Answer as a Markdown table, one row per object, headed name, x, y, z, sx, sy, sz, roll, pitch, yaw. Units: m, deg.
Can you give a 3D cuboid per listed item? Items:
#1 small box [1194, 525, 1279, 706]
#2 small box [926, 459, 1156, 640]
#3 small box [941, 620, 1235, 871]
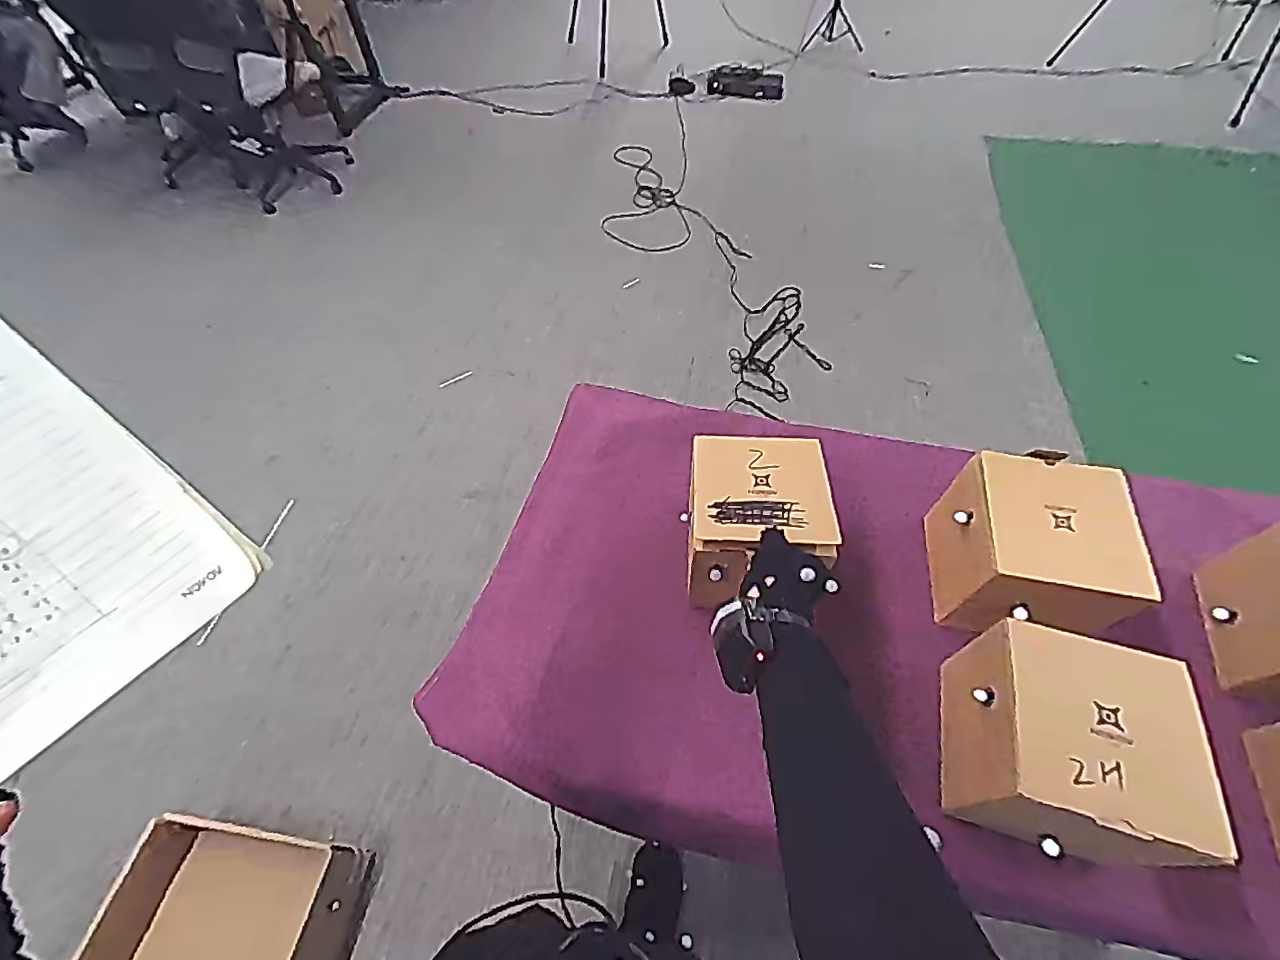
| name | x | y | z | sx | sy | sz | roll | pitch | yaw |
| --- | --- | --- | --- | --- | --- | --- | --- | --- | --- |
| small box | 0.816 | 0.173 | 0.630 | 0.168 | 0.176 | 0.179 | 15 | 57 | 13 |
| small box | 0.491 | 0.100 | 0.698 | 0.168 | 0.176 | 0.179 | 9 | 55 | 9 |
| small box | 0.435 | 0.279 | 0.567 | 0.168 | 0.176 | 0.179 | 14 | 56 | 12 |
